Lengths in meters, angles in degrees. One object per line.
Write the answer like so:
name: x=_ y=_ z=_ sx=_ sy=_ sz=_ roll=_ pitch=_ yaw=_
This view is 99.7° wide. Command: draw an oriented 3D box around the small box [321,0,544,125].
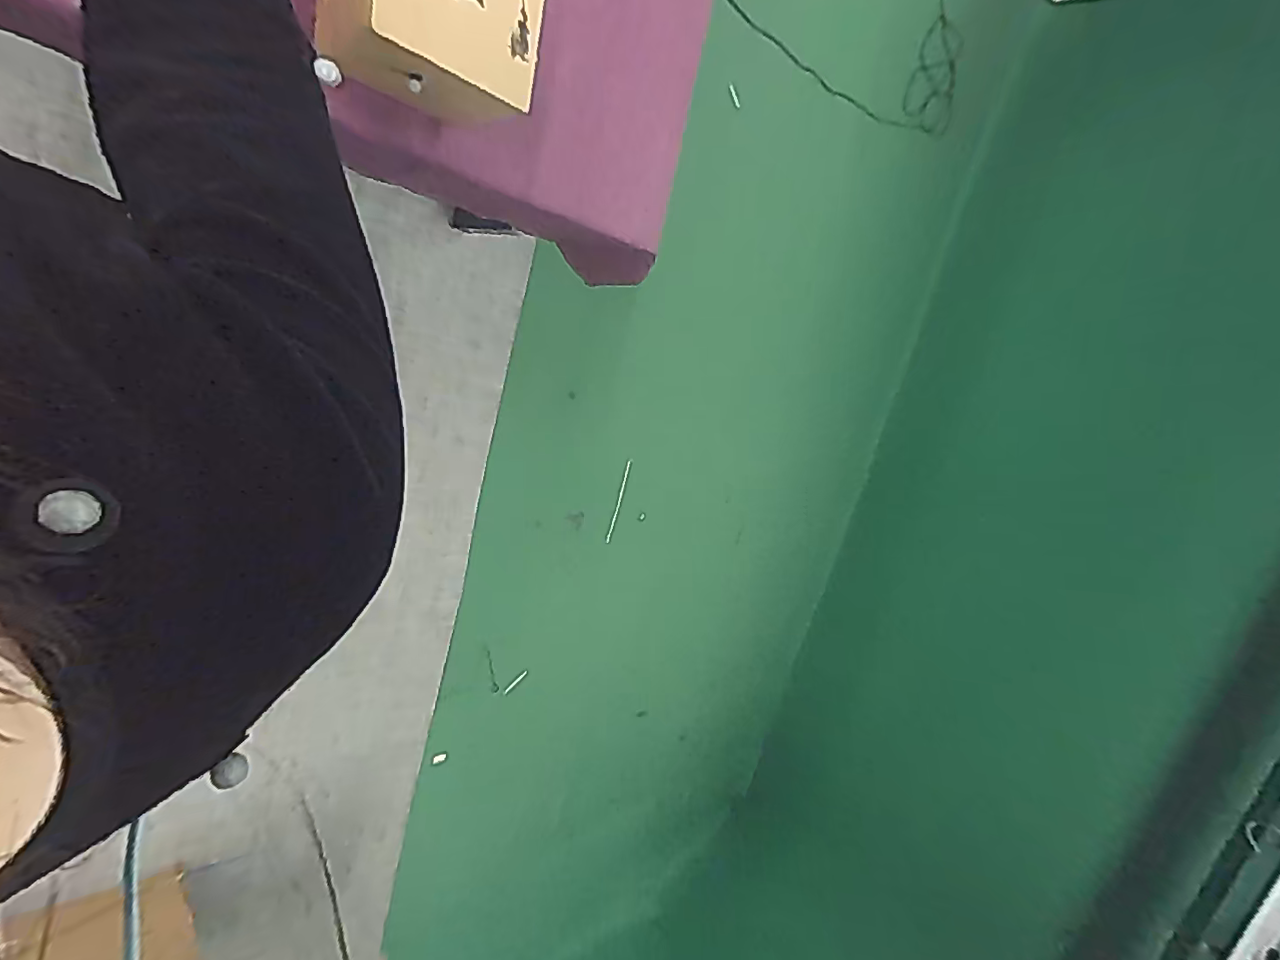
small box: x=-0.225 y=-0.511 z=0.584 sx=0.179 sy=0.176 sz=0.168 roll=-2 pitch=110 yaw=-45
